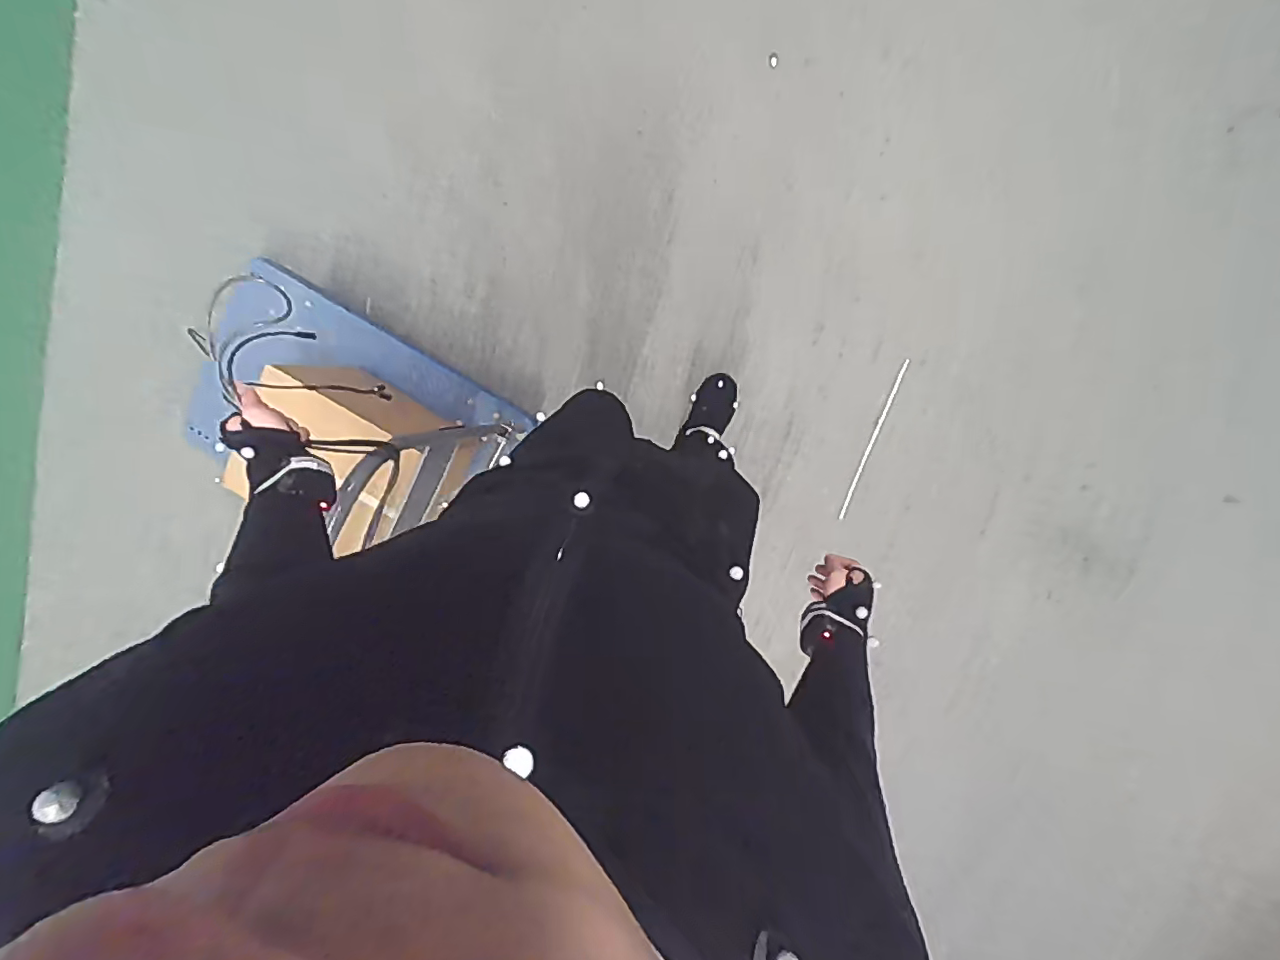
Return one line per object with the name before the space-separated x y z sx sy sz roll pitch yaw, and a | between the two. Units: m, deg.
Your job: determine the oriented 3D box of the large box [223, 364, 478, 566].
large box | -0.686 -0.055 1.336 0.408 0.320 0.320 31 102 0
